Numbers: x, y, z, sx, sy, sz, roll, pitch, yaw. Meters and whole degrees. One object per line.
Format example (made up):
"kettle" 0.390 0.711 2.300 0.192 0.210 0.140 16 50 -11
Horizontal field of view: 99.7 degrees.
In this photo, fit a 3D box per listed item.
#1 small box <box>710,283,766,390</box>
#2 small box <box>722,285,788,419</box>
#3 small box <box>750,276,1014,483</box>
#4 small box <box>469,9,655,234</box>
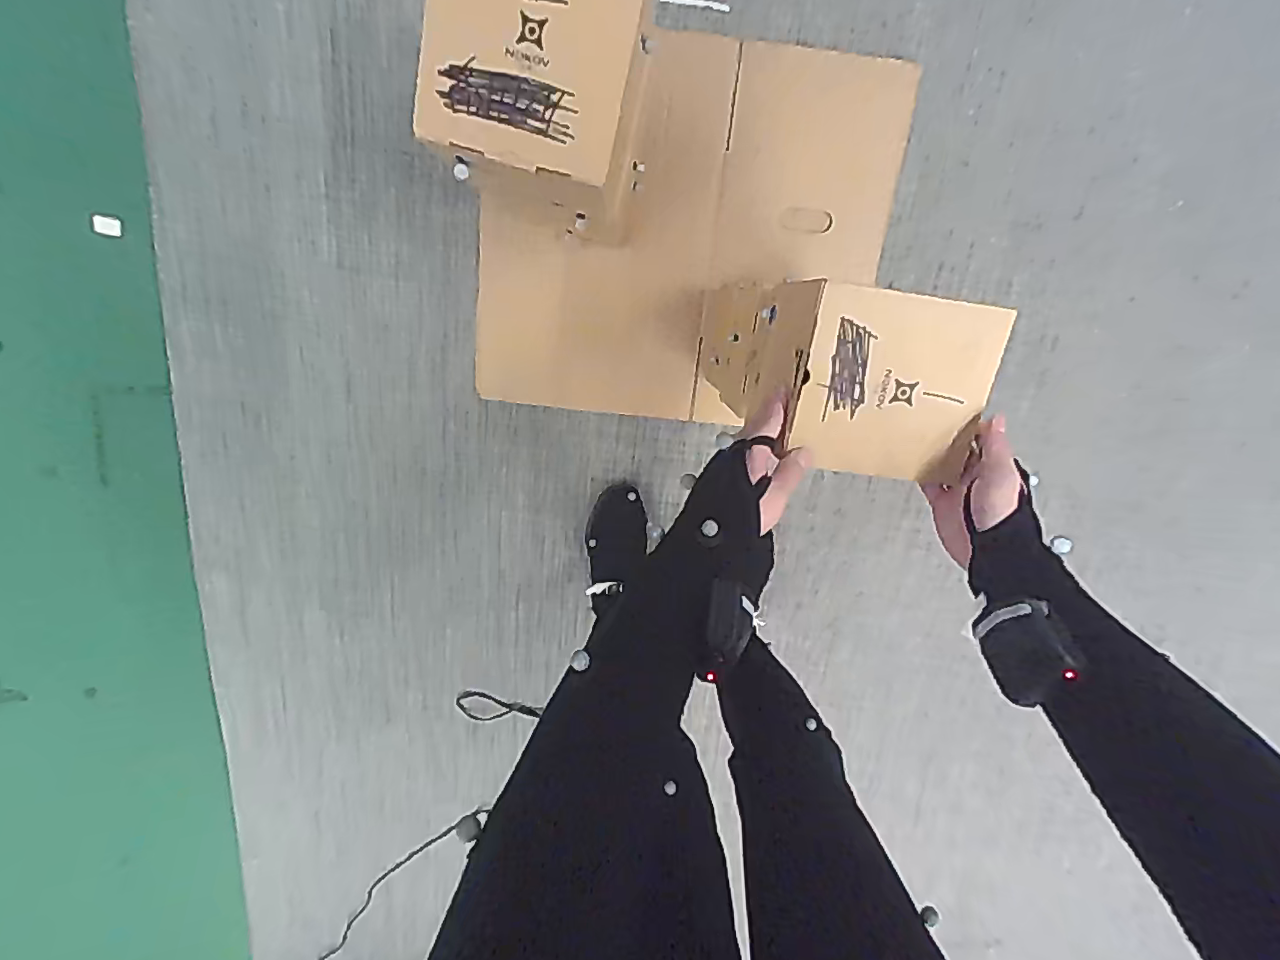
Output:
"small box" 0.220 -0.226 0.901 0.179 0.176 0.168 7 107 -3
"small box" 0.221 -0.173 0.749 0.179 0.176 0.168 6 108 -1
"small box" 0.226 -0.108 0.562 0.179 0.176 0.168 7 108 -5
"small box" -0.089 -0.415 0.664 0.179 0.176 0.168 13 105 -5
